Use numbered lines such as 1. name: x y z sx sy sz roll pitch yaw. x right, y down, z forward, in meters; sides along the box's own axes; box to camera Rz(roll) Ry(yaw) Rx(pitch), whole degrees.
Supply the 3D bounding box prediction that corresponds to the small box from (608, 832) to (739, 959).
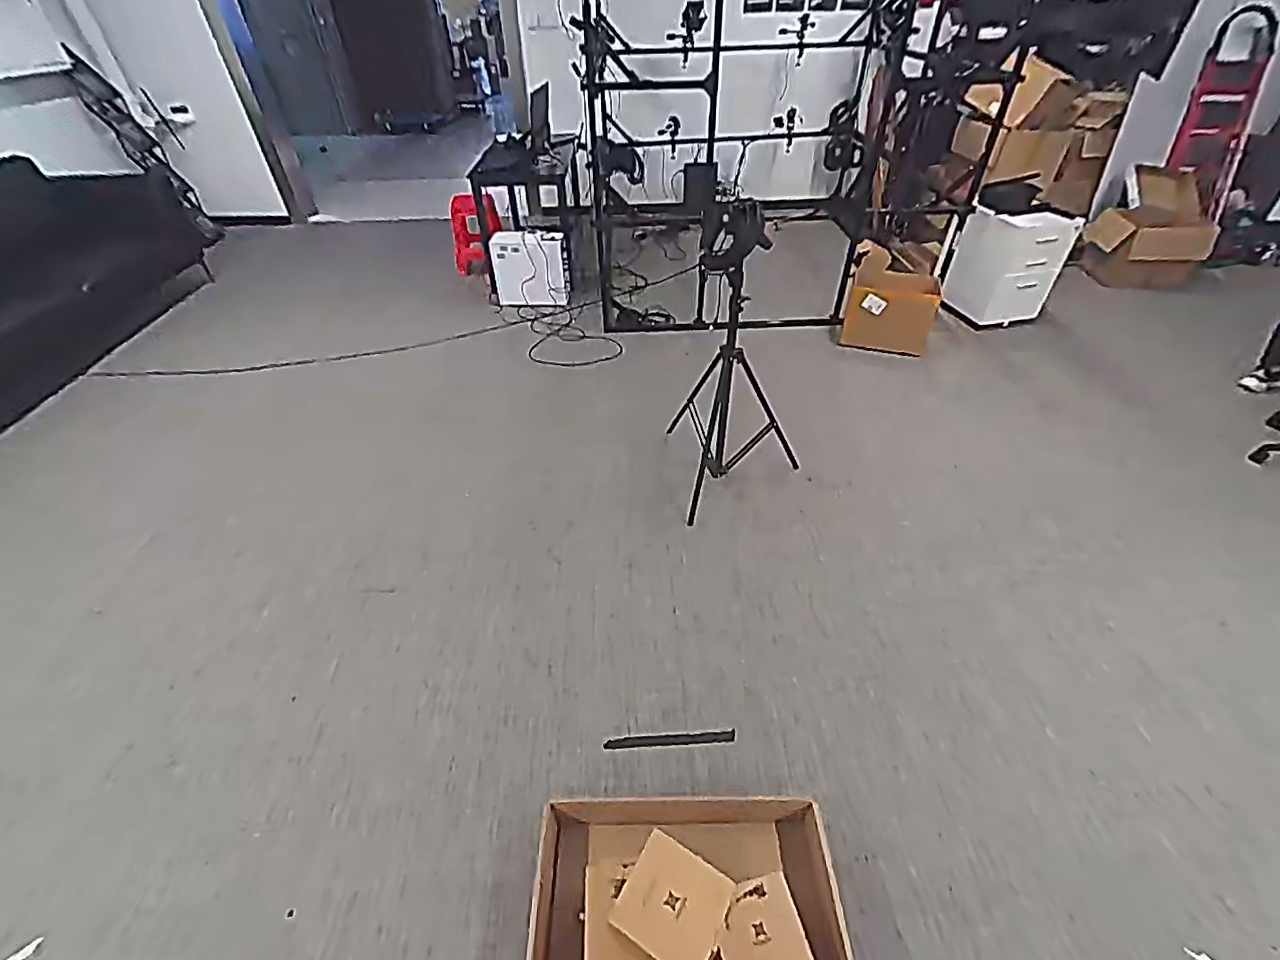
1. small box: 0.061 0.790 0.975 0.179 0.176 0.168 20 43 24
